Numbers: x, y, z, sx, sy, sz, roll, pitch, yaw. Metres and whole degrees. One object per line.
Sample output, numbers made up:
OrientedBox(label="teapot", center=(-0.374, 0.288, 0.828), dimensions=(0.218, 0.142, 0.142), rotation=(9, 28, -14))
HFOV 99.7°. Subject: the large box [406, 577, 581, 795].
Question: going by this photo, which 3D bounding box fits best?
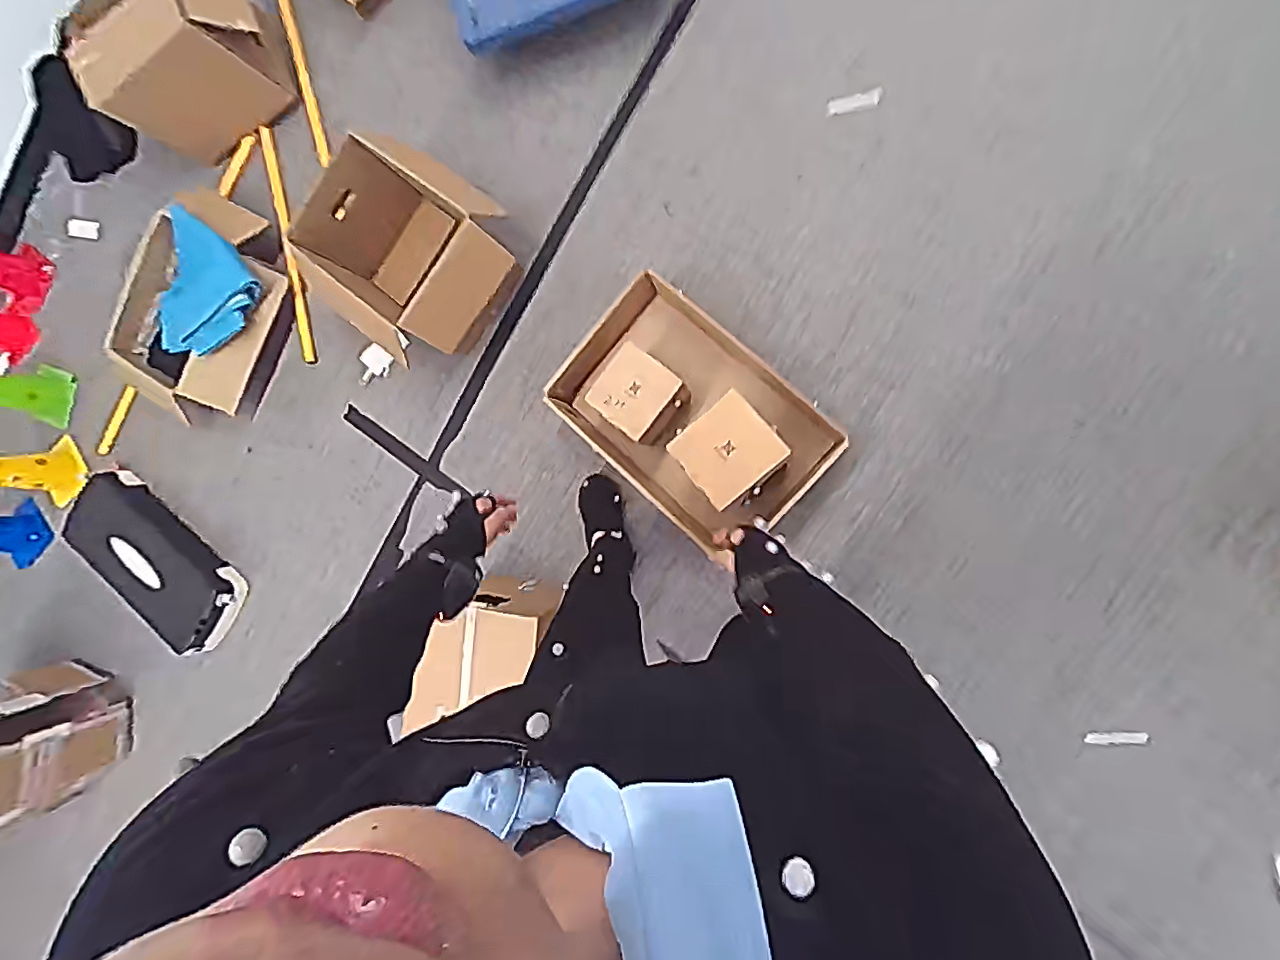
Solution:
OrientedBox(label="large box", center=(-0.350, 0.482, 1.361), dimensions=(0.320, 0.320, 0.408), rotation=(6, 92, 14))
